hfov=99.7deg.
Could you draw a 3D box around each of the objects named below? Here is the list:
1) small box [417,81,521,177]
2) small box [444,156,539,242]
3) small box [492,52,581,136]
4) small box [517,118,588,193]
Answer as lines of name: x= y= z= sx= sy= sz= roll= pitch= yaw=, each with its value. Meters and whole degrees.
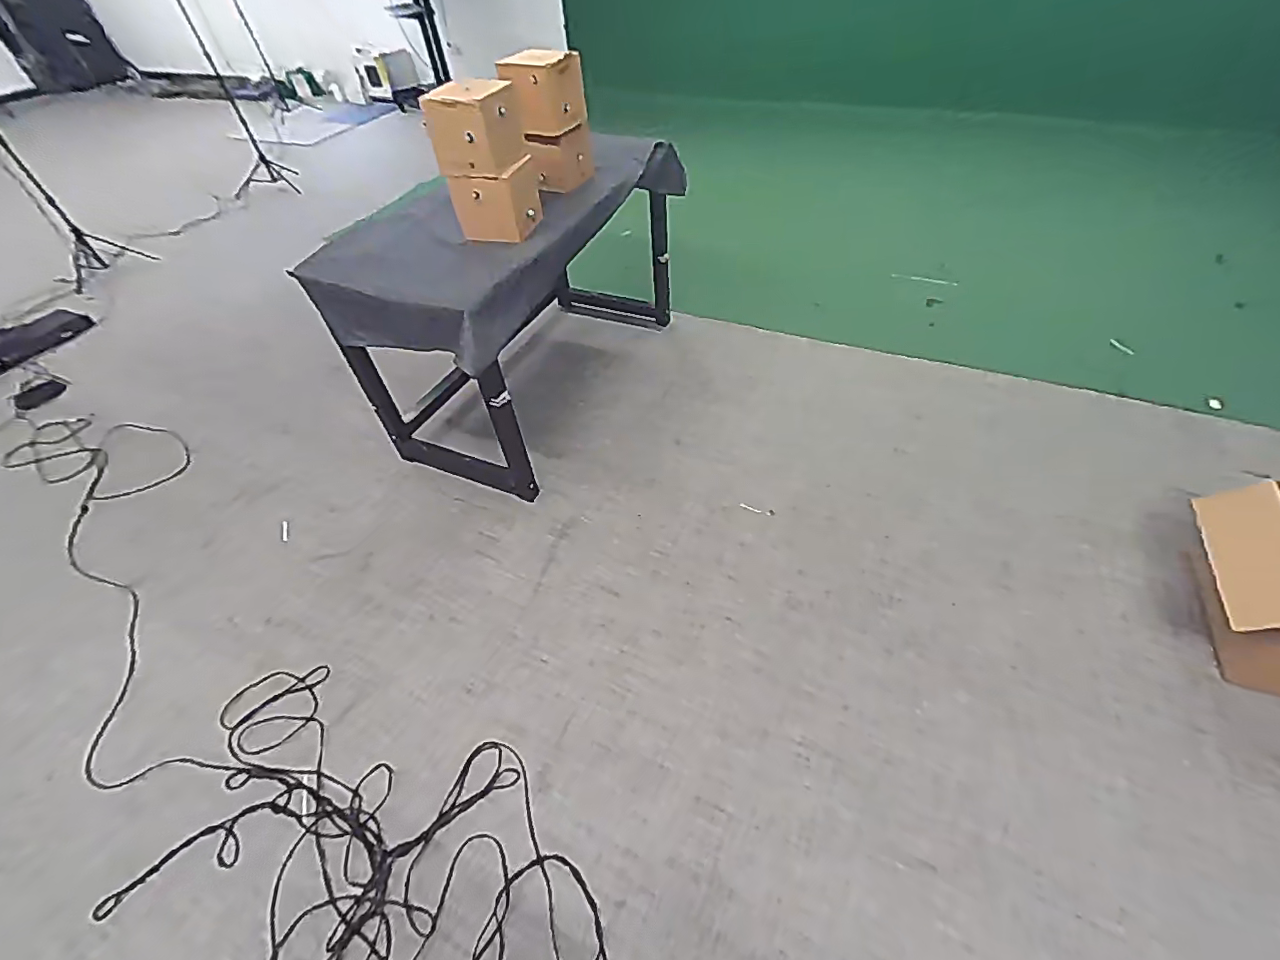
small box: x=-0.419 y=-0.881 z=1.361 sx=0.168 sy=0.176 sz=0.179 roll=13 pitch=49 yaw=14
small box: x=-0.396 y=-0.767 z=1.474 sx=0.179 sy=0.176 sz=0.168 roll=9 pitch=50 yaw=12
small box: x=-0.290 y=-1.112 z=1.558 sx=0.179 sy=0.176 sz=0.168 roll=20 pitch=53 yaw=21
small box: x=-0.280 y=-1.024 z=1.697 sx=0.179 sy=0.176 sz=0.168 roll=18 pitch=52 yaw=19
